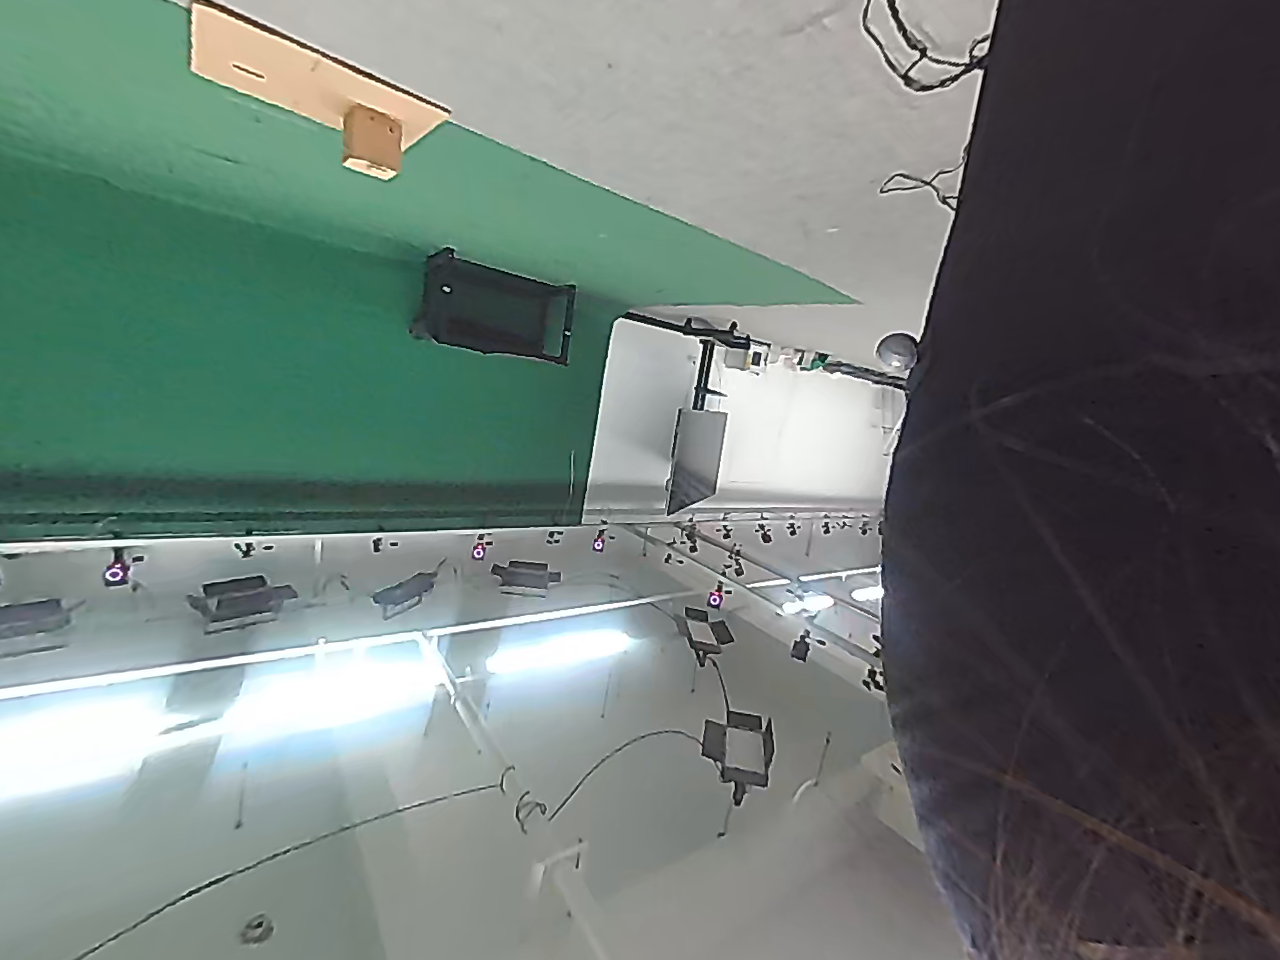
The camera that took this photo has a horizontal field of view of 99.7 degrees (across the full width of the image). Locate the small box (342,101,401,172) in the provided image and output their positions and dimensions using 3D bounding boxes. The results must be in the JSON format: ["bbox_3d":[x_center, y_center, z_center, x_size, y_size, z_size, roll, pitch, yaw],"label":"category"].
[{"bbox_3d":[-1.012,-1.293,2.037,0.168,0.176,0.179,0,-165,-41],"label":"small box"}]
